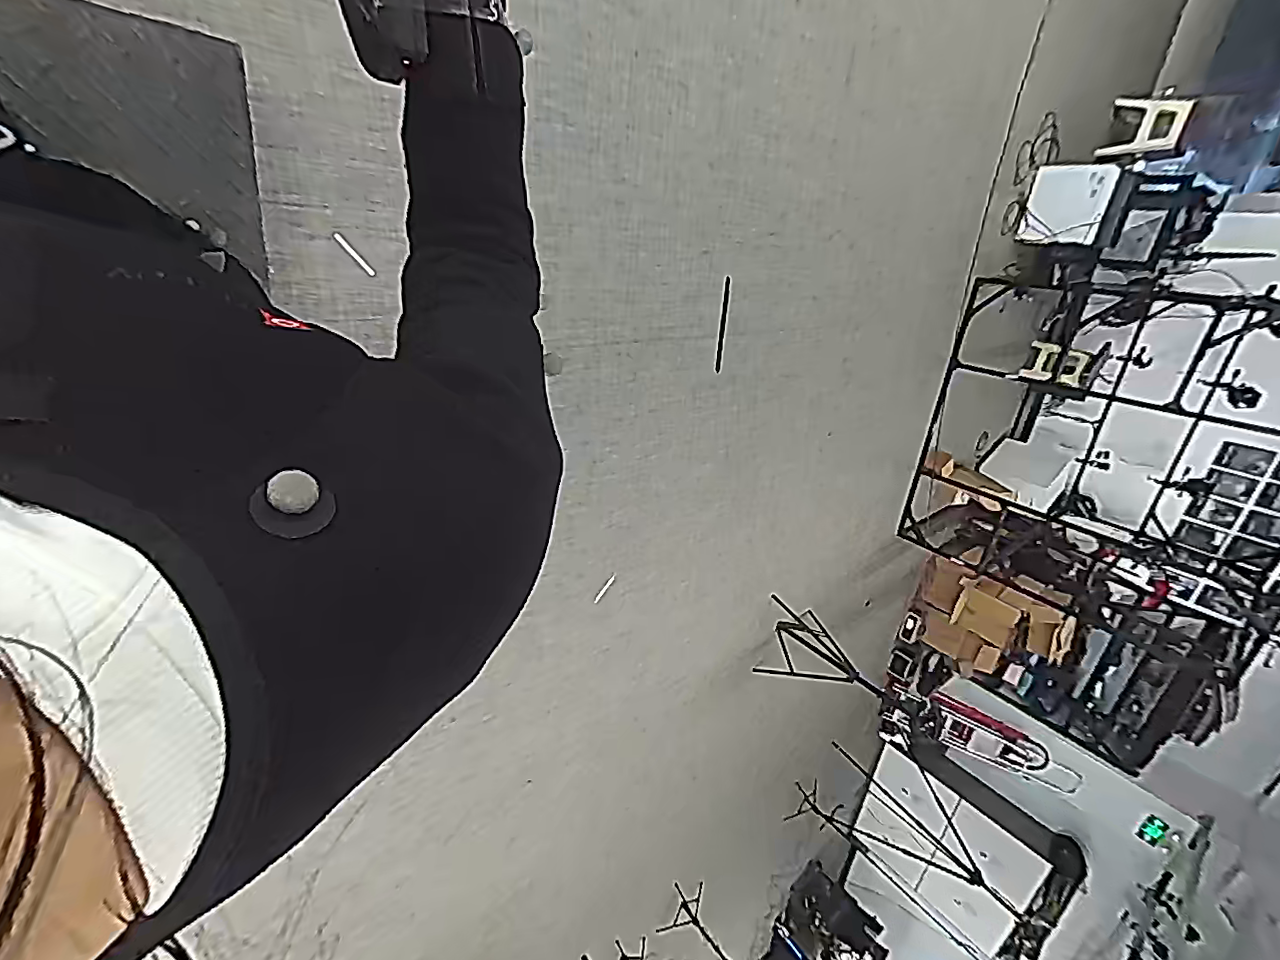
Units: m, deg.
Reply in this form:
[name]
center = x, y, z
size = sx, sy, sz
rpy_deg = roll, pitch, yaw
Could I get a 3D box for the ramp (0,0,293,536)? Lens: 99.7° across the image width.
[ramp]
center = -1.012, -0.334, 1.064
size = 0.509, 0.206, 0.991
rpy_deg = -15, 121, -38
